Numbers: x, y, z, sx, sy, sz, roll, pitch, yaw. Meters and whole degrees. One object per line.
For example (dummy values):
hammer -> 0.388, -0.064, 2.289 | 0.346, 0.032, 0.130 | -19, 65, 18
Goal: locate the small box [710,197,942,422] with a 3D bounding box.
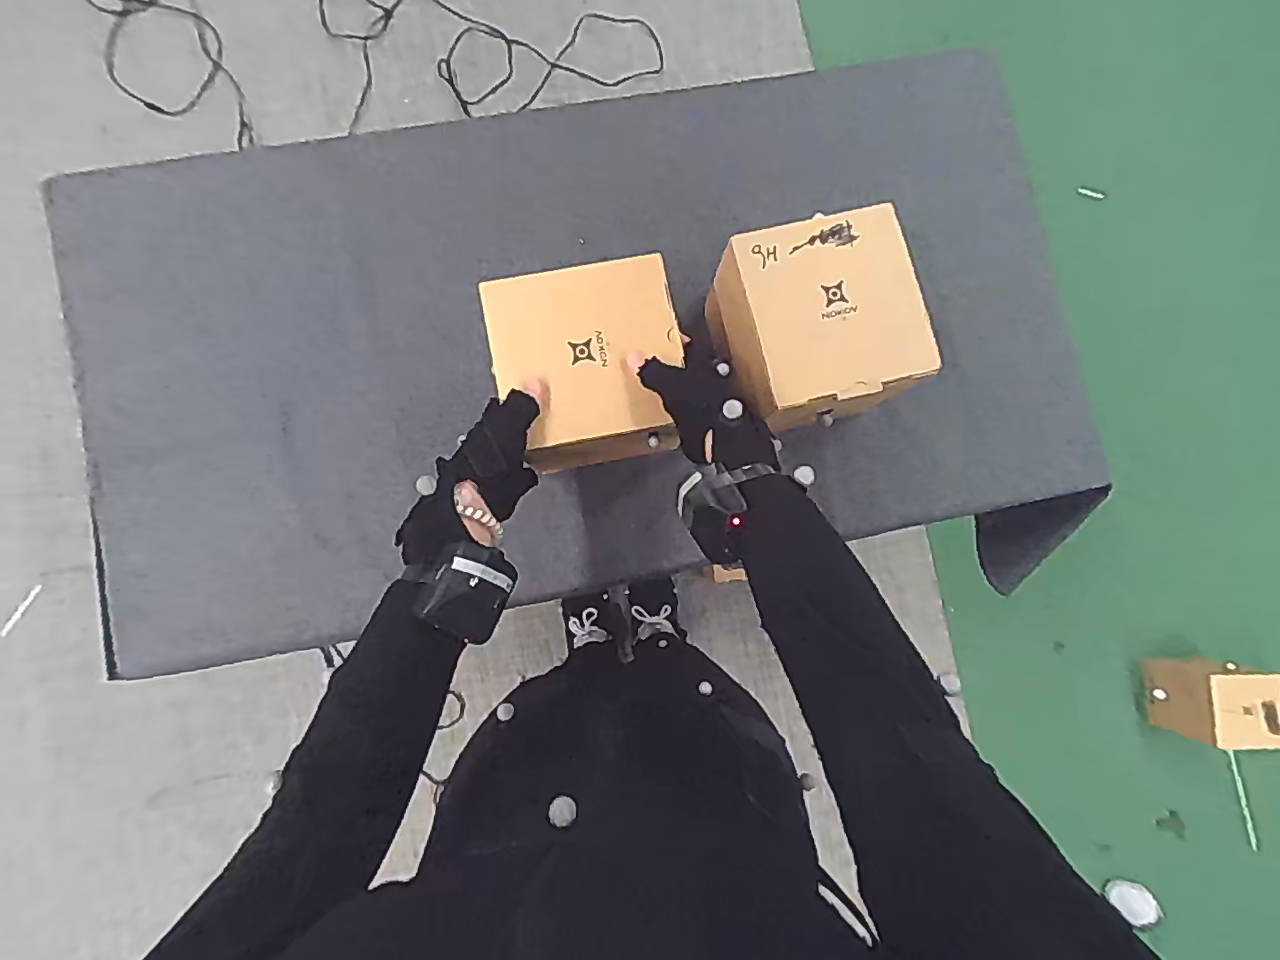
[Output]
small box -> 0.185, -0.167, 0.588 | 0.168, 0.176, 0.179 | -12, 86, -5

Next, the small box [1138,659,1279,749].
small box -> 1.374, 0.538, 1.314 | 0.179, 0.176, 0.168 | 1, 84, -2
